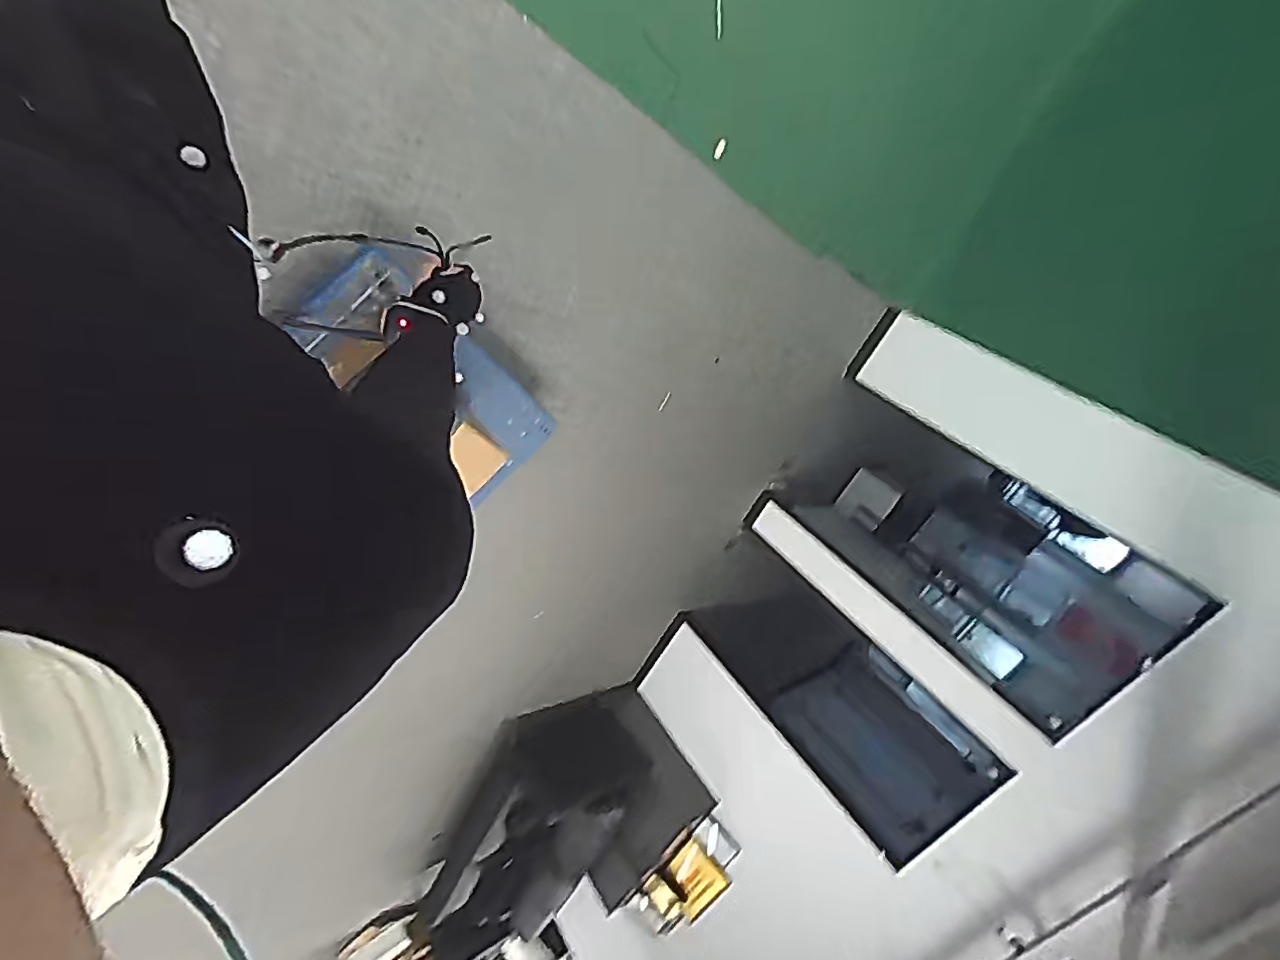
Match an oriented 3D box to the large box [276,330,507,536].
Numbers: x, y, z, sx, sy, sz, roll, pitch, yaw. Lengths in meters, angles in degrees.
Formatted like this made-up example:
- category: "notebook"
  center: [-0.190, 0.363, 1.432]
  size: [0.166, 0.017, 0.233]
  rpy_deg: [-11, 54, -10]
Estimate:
- category: "large box"
  center: [-0.643, -0.113, 1.427]
  size: [0.320, 0.320, 0.408]
  rpy_deg: [-43, 146, 0]
